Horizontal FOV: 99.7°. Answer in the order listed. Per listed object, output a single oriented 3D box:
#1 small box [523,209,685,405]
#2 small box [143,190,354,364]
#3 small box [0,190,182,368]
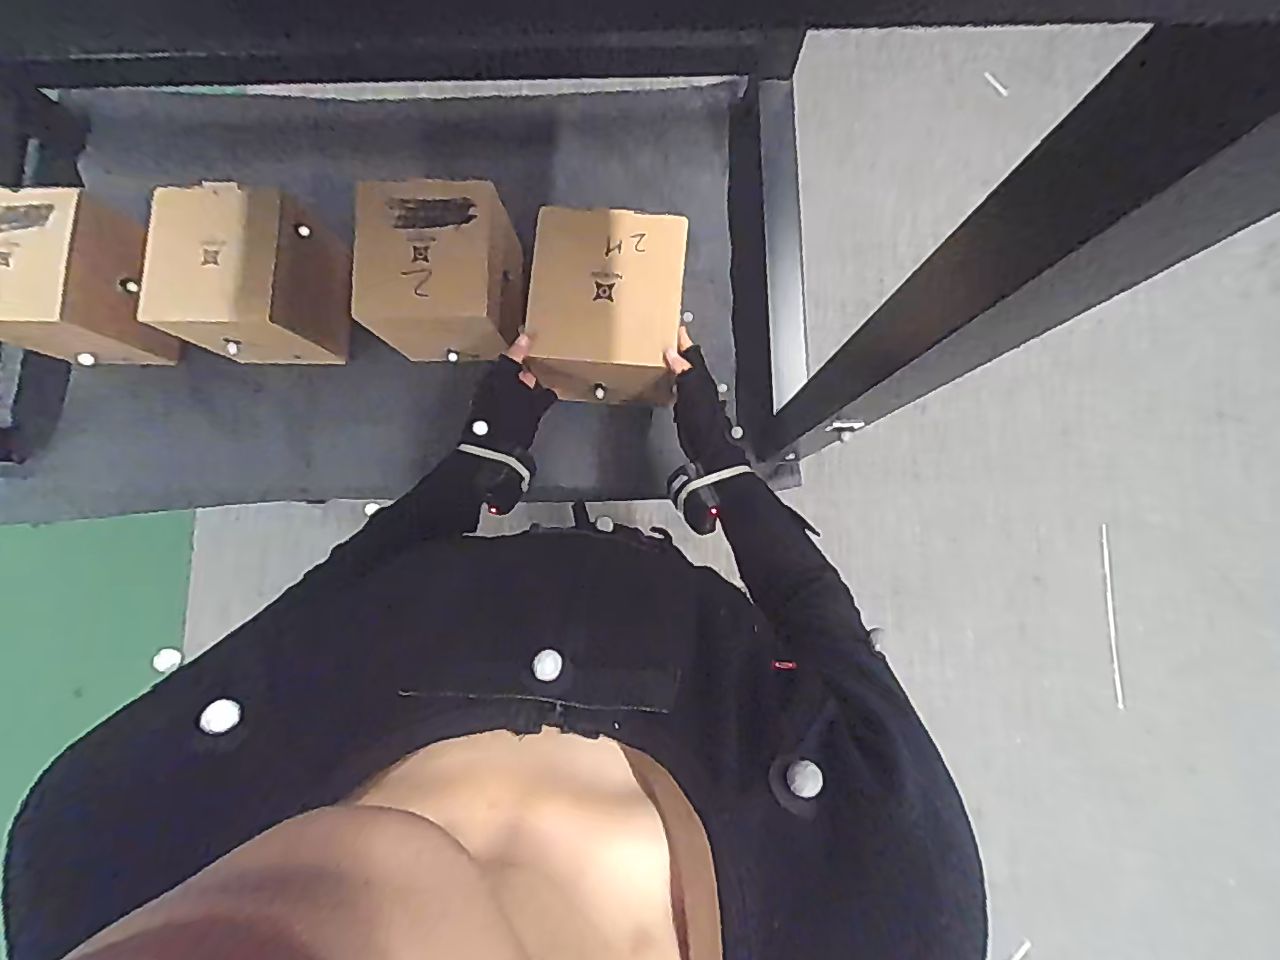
[{"bbox_3d":[-0.037,-0.199,0.666,0.168,0.176,0.179,5,82,1],"label":"small box"},{"bbox_3d":[-0.519,-0.265,0.742,0.168,0.176,0.179,1,83,1],"label":"small box"},{"bbox_3d":[-0.772,-0.267,0.745,0.168,0.176,0.179,1,84,1],"label":"small box"}]
